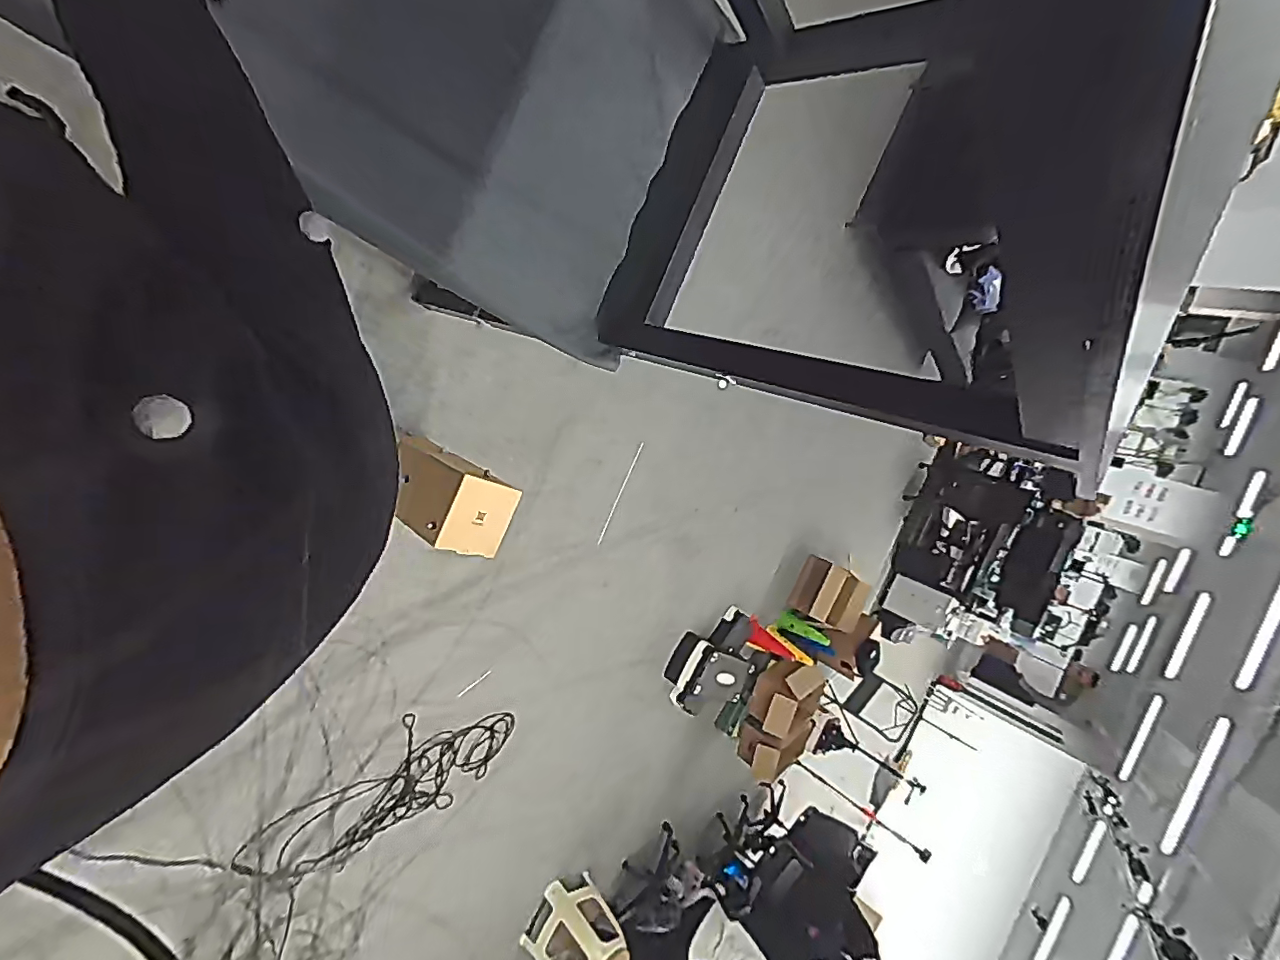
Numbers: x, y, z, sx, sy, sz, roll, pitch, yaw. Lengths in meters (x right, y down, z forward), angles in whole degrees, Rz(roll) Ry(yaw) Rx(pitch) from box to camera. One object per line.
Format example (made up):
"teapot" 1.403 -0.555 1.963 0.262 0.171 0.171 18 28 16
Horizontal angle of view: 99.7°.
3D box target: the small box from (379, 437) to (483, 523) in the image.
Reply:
"small box" -0.535 0.009 1.371 0.168 0.176 0.179 19 93 -51

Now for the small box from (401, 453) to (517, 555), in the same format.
"small box" -0.425 0.053 1.258 0.168 0.176 0.179 23 91 -50
